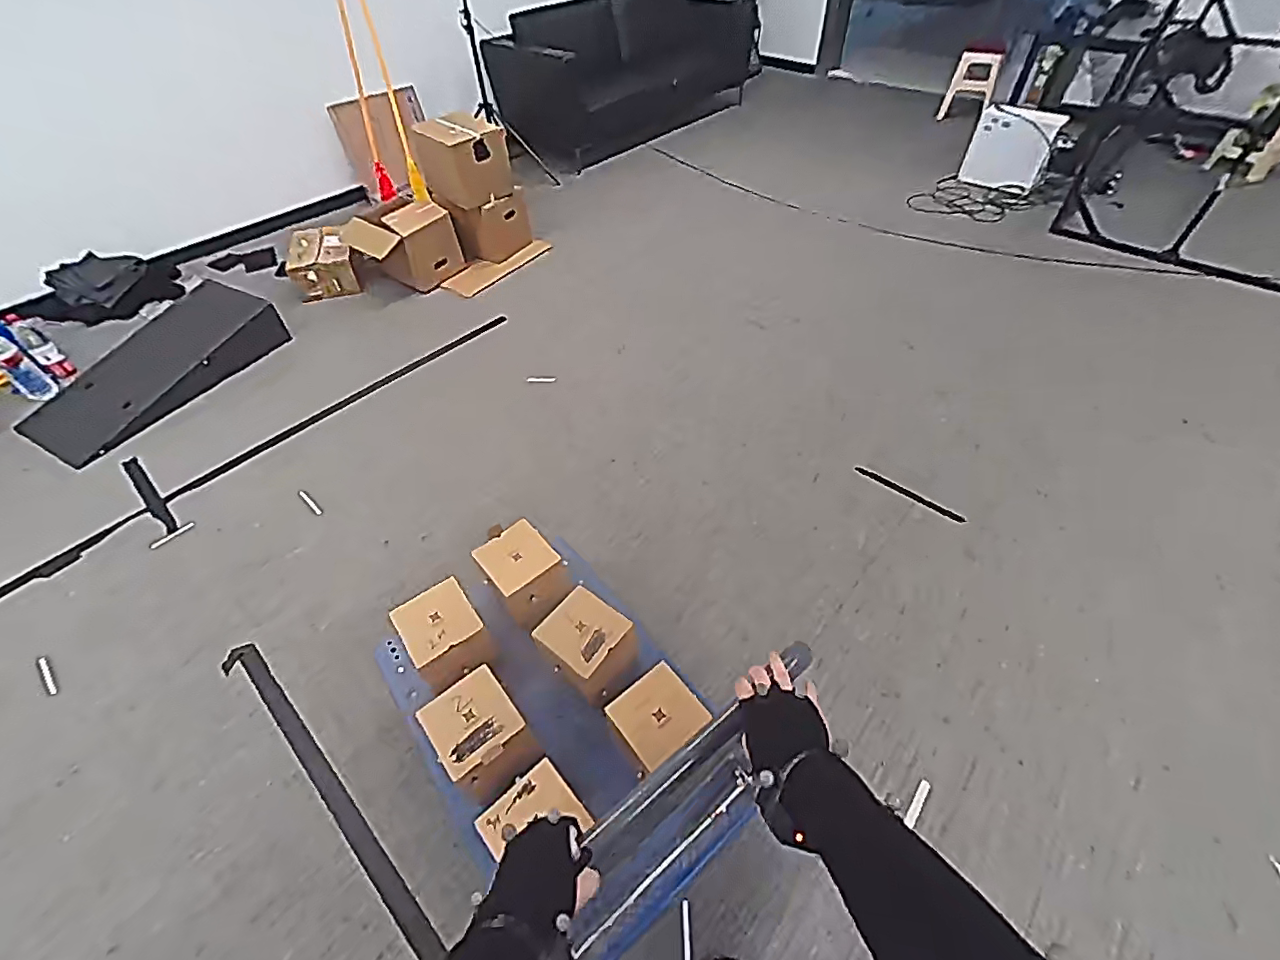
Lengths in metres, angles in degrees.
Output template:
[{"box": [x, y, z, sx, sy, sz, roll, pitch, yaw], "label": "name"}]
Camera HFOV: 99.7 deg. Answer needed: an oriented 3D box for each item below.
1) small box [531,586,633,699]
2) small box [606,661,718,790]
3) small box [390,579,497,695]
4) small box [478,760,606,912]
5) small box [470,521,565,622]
[{"box": [-0.129, 0.395, 1.295, 0.179, 0.176, 0.168, 29, 55, 26], "label": "small box"}, {"box": [0.047, 0.536, 1.168, 0.168, 0.176, 0.179, -32, 54, -24], "label": "small box"}, {"box": [-0.471, 0.383, 1.311, 0.168, 0.176, 0.179, -31, 56, -24], "label": "small box"}, {"box": [-0.179, 0.685, 1.041, 0.168, 0.176, 0.179, -35, 57, -27], "label": "small box"}, {"box": [-0.317, 0.250, 1.428, 0.168, 0.176, 0.179, -35, 57, -26], "label": "small box"}]
